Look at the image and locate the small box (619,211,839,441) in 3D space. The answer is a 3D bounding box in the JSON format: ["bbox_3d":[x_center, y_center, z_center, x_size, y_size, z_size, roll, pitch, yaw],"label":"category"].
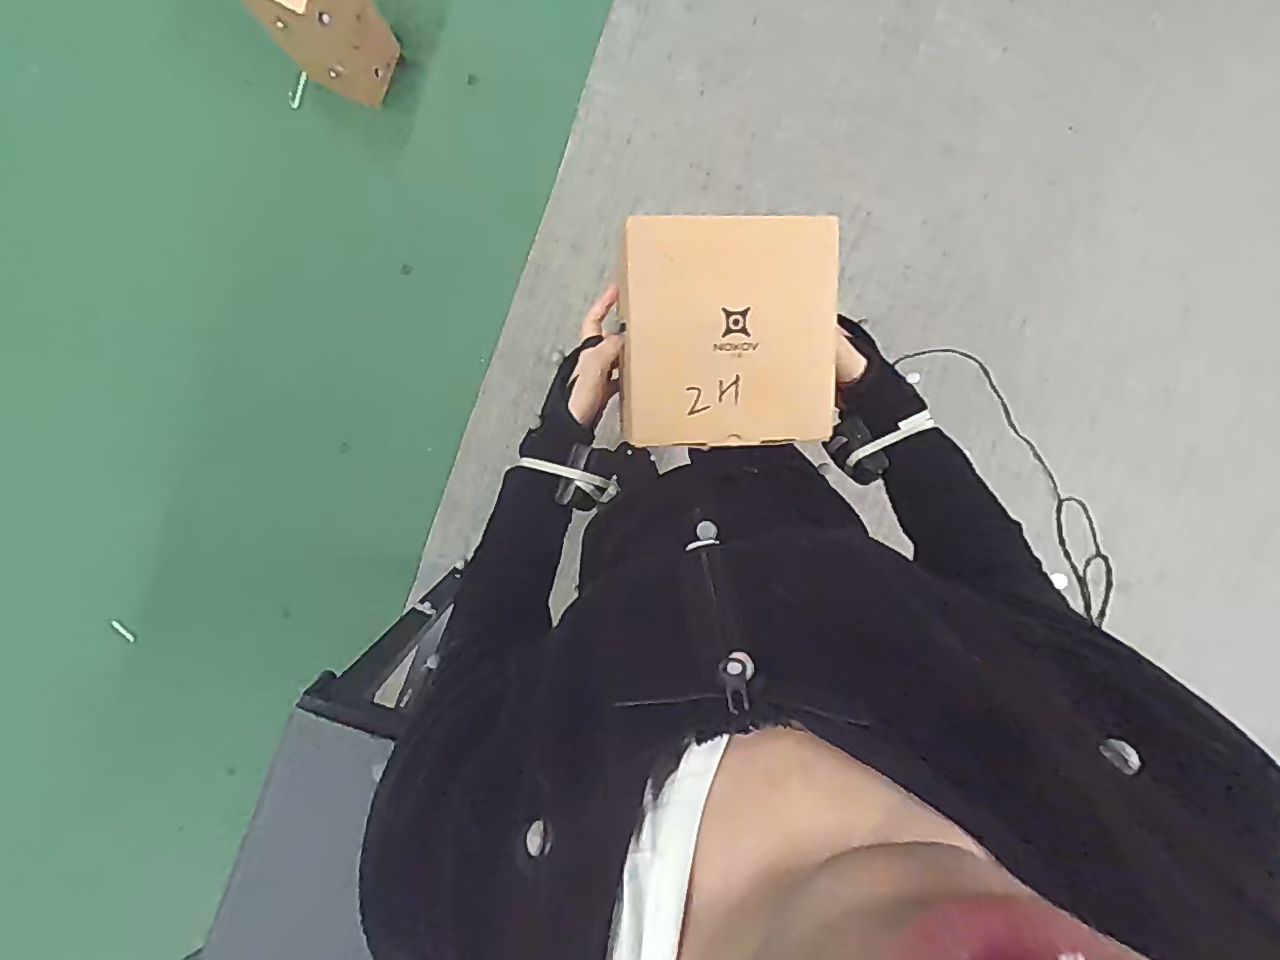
[{"bbox_3d":[0.068,-0.130,0.505,0.168,0.176,0.179,-2,99,-5],"label":"small box"}]

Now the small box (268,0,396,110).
[{"bbox_3d":[-0.708,-1.014,1.261,0.179,0.176,0.168,23,95,-6],"label":"small box"}]
